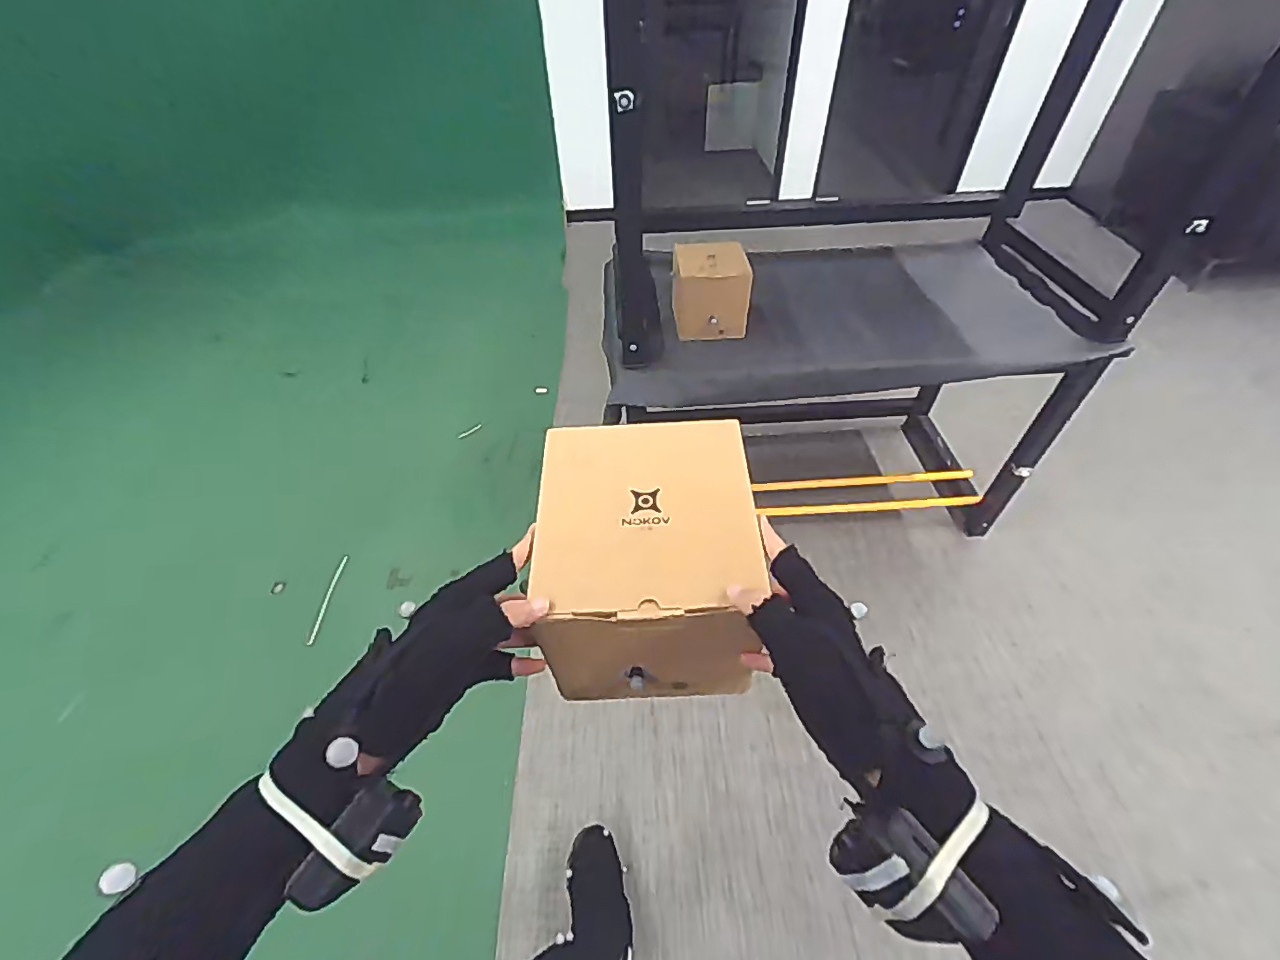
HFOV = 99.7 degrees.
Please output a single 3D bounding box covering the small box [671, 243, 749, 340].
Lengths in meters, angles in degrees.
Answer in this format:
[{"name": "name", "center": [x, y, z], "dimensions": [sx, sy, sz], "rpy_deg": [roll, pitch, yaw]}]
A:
[{"name": "small box", "center": [0.165, -0.465, 1.337], "dimensions": [0.168, 0.176, 0.179], "rpy_deg": [-4, 46, -1]}]
